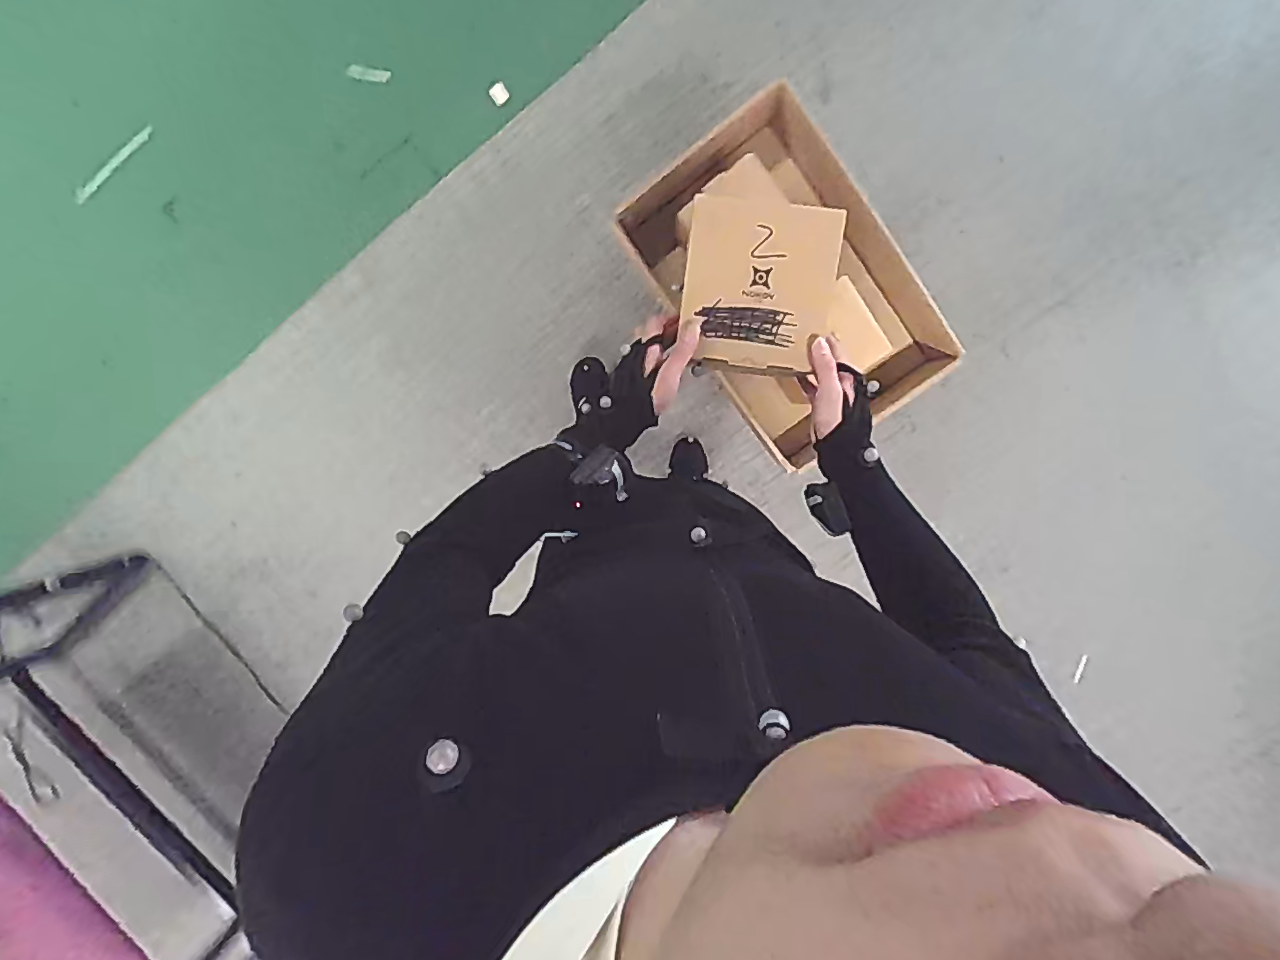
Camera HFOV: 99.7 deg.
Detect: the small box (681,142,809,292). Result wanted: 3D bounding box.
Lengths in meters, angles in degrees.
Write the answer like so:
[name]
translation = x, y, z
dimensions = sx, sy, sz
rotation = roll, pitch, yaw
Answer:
[small box]
translation = 0.189, -0.488, 1.037
dimensions = 0.168, 0.176, 0.179
rotation = -36, 97, 8
